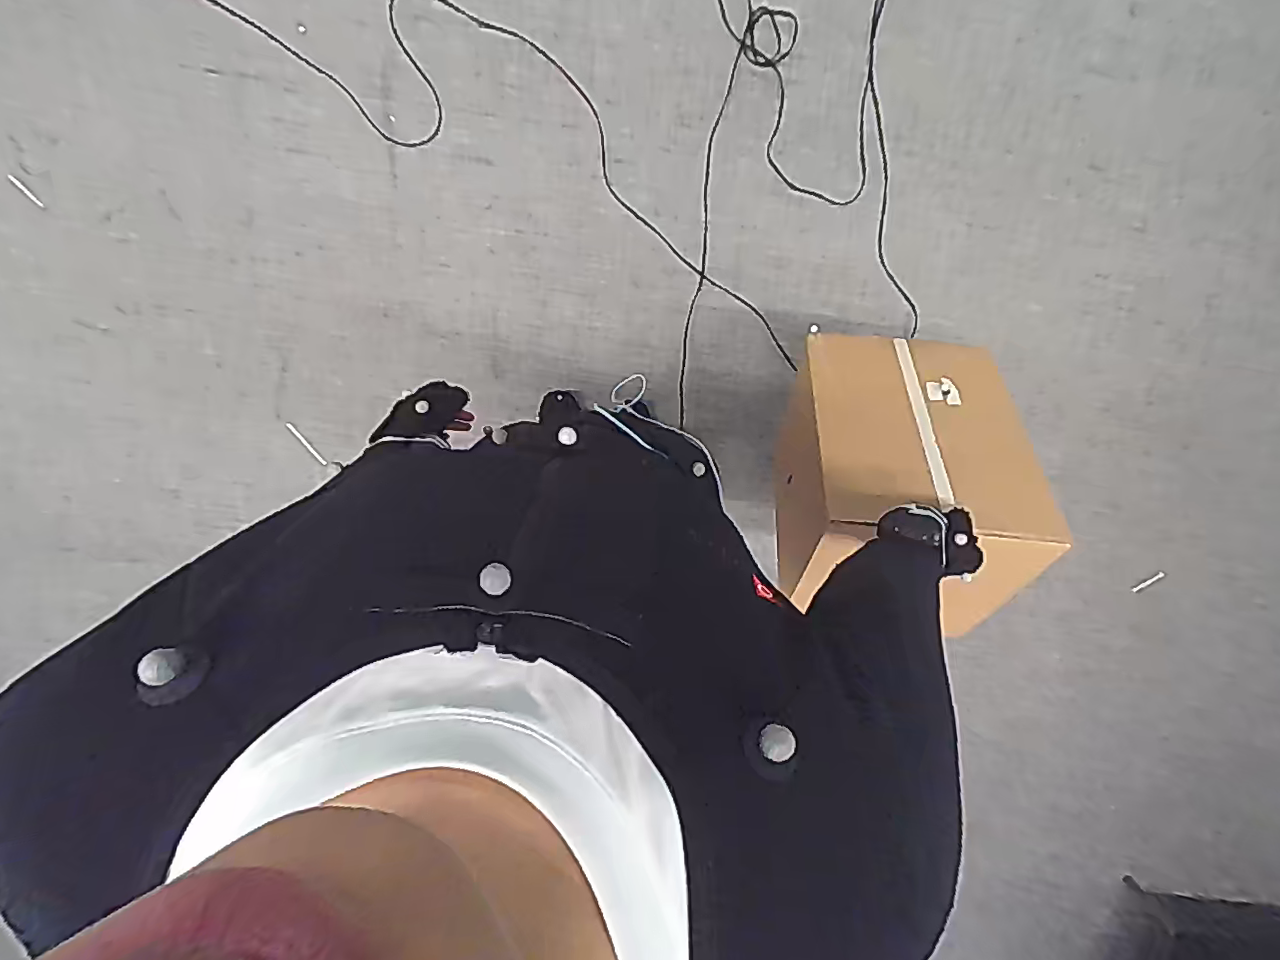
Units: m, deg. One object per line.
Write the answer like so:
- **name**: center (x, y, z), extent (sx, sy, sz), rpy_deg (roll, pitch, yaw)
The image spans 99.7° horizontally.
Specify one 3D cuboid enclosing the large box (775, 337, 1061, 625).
- **large box**: center (0.426, 0.002, 0.957), extent (0.320, 0.408, 0.320), rpy_deg (6, 142, 3)
